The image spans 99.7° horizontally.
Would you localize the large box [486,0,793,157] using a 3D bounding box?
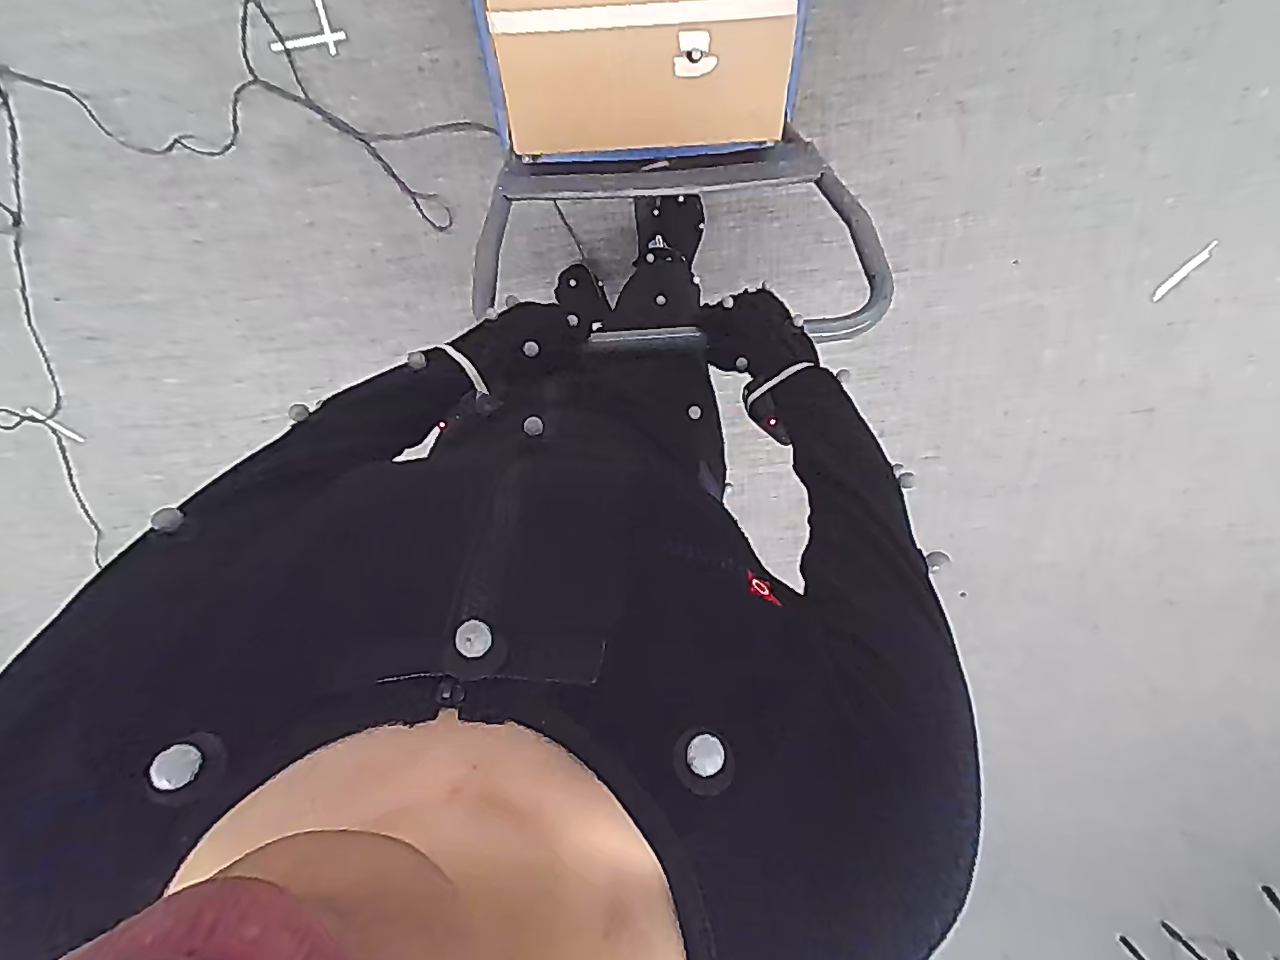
[{"bbox_3d":[-0.008,-0.713,0.807,0.408,0.320,0.320,-5,136,-1],"label":"large box"}]
